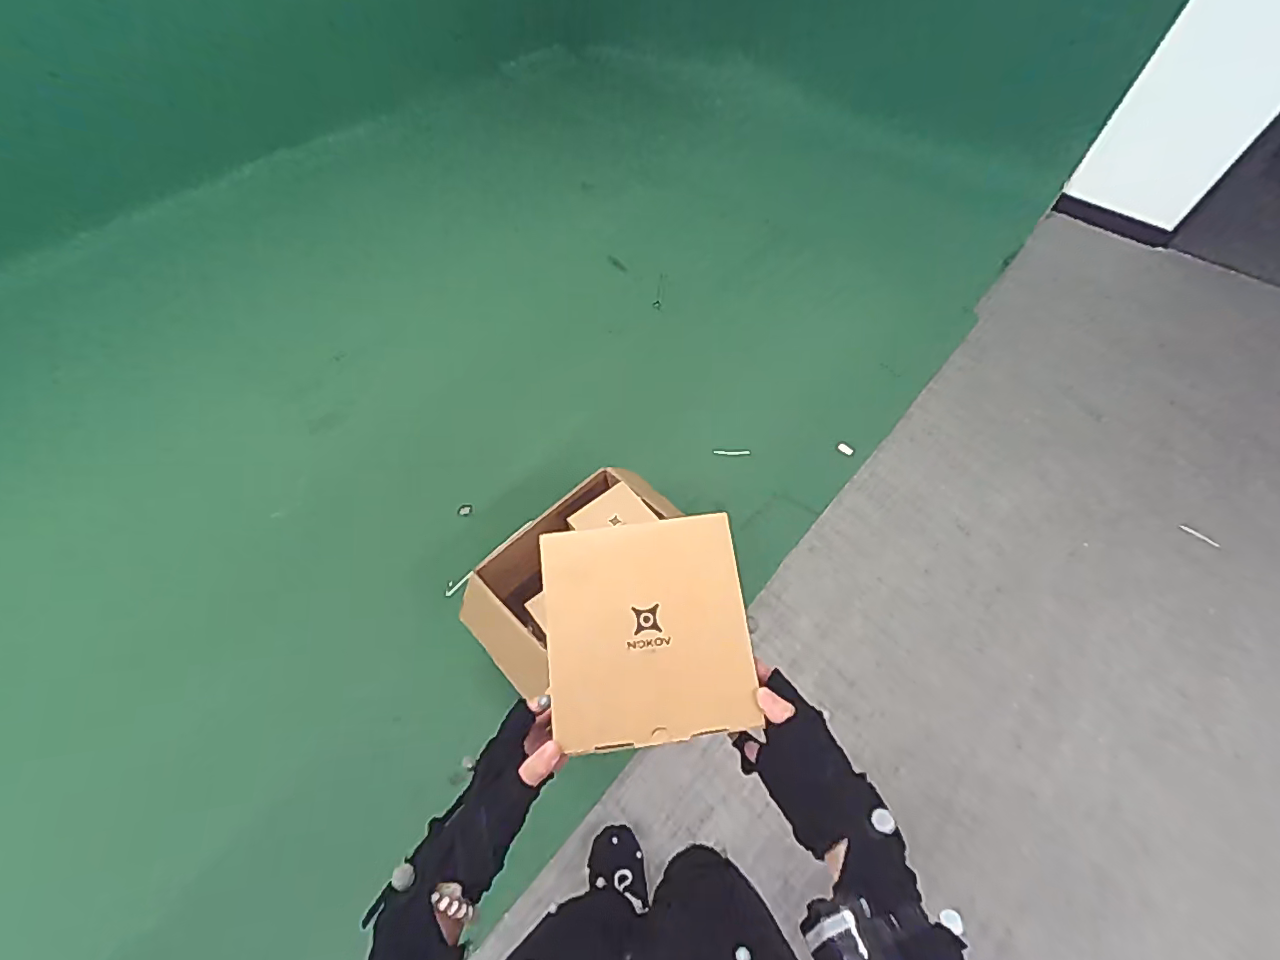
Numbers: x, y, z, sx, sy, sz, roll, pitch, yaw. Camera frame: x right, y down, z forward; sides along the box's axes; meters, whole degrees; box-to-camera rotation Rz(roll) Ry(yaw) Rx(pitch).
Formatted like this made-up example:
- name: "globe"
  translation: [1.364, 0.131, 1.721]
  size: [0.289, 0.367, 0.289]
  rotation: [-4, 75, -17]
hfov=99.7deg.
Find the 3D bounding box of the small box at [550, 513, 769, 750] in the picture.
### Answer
- name: "small box"
  translation: [0.007, 0.143, 0.518]
  size: [0.168, 0.176, 0.179]
  rotation: [-6, 72, -4]
